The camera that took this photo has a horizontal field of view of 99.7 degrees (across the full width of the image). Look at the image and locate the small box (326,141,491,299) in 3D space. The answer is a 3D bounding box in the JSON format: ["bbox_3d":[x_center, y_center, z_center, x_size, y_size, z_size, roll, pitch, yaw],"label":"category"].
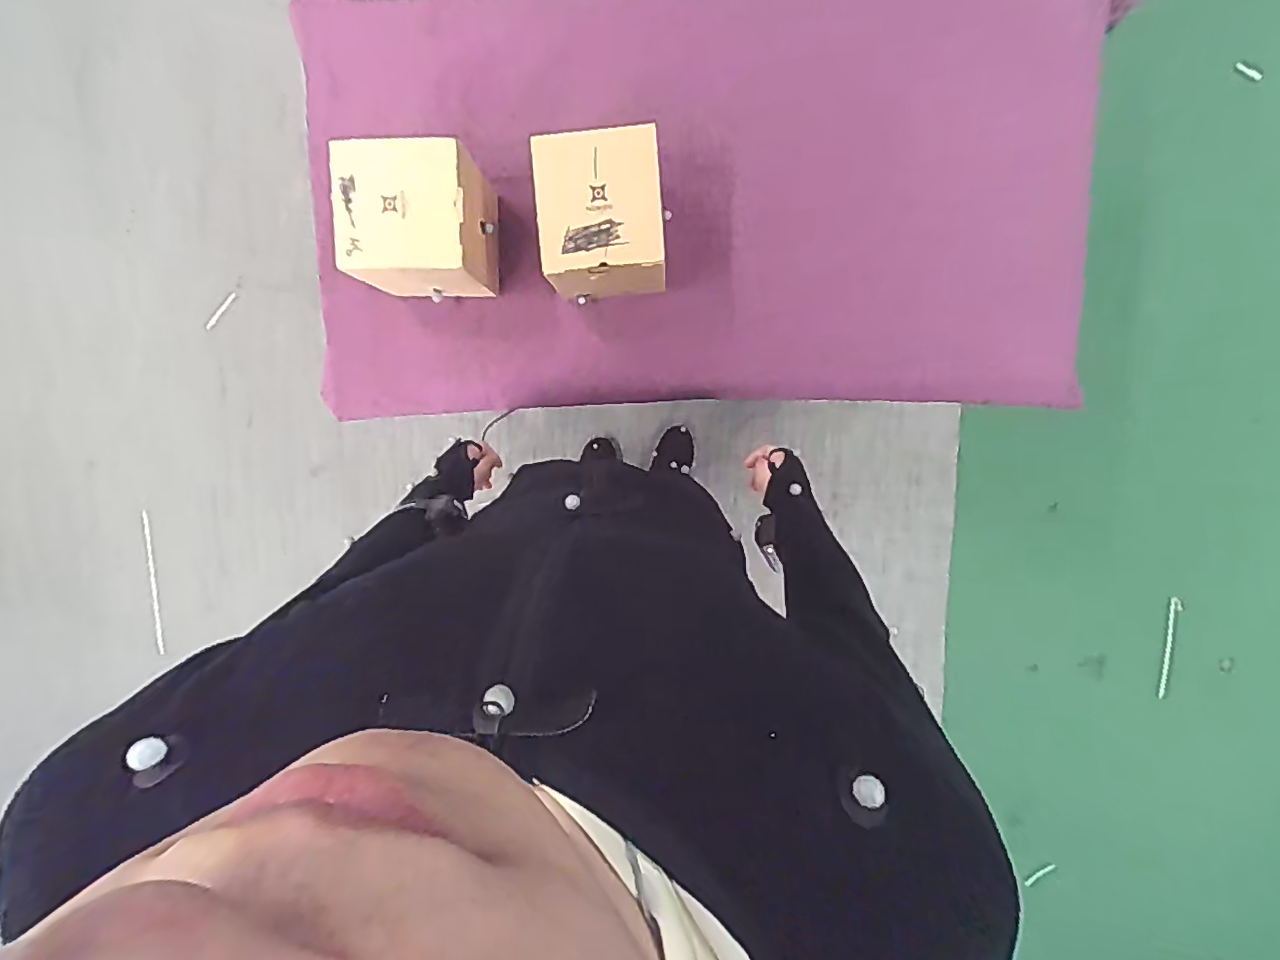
[{"bbox_3d":[-0.321,-0.367,0.788,0.179,0.176,0.168,0,97,1],"label":"small box"}]

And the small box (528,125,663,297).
[{"bbox_3d":[-0.054,-0.370,0.779,0.168,0.176,0.179,-4,96,2],"label":"small box"}]
